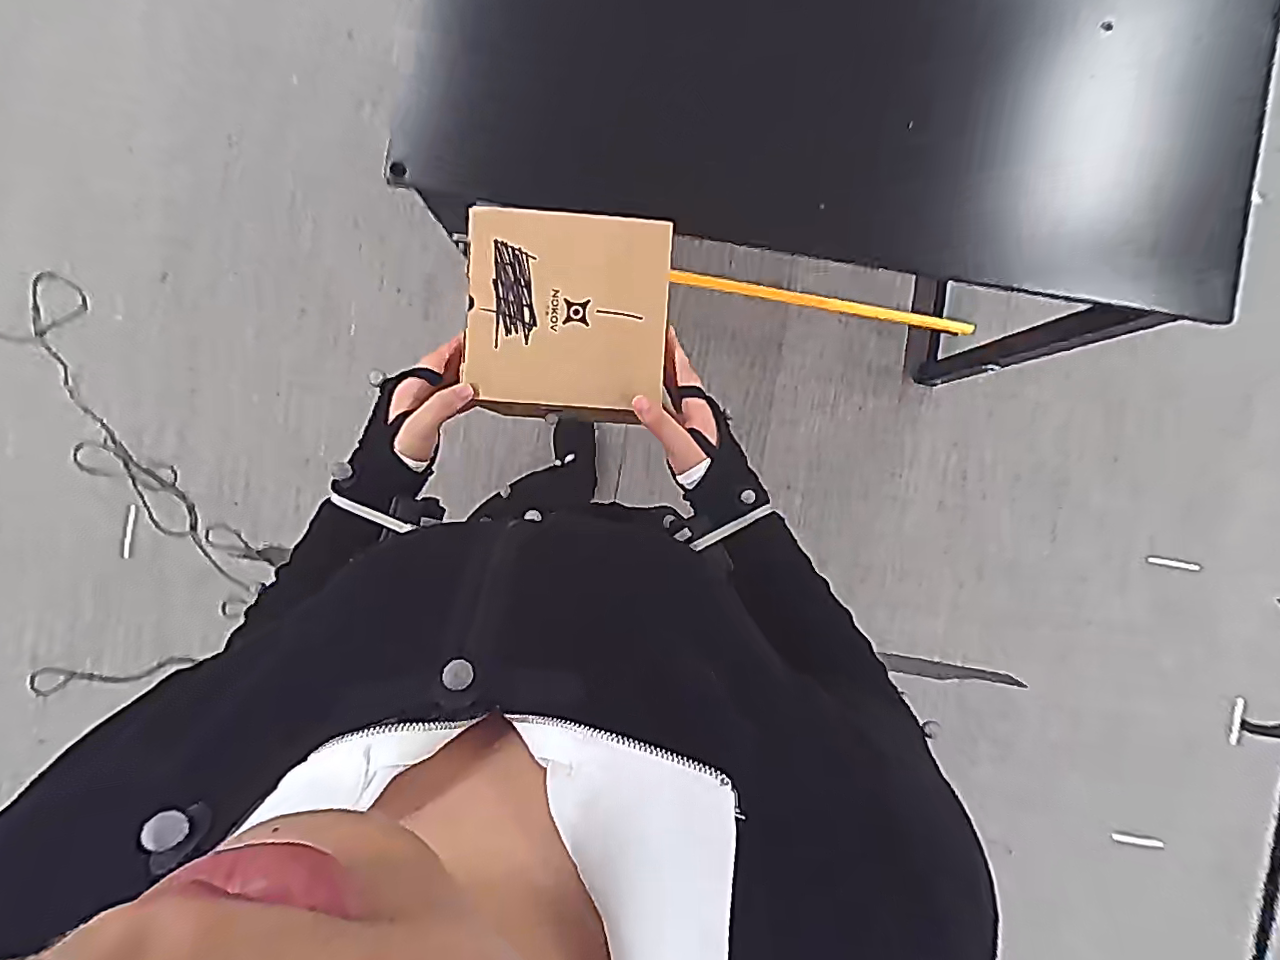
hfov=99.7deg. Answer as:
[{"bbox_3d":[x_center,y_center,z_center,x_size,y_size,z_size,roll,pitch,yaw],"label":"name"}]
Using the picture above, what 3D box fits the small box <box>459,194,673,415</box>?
[{"bbox_3d":[-0.066,-0.159,0.544,0.179,0.176,0.168,4,91,-3],"label":"small box"}]
